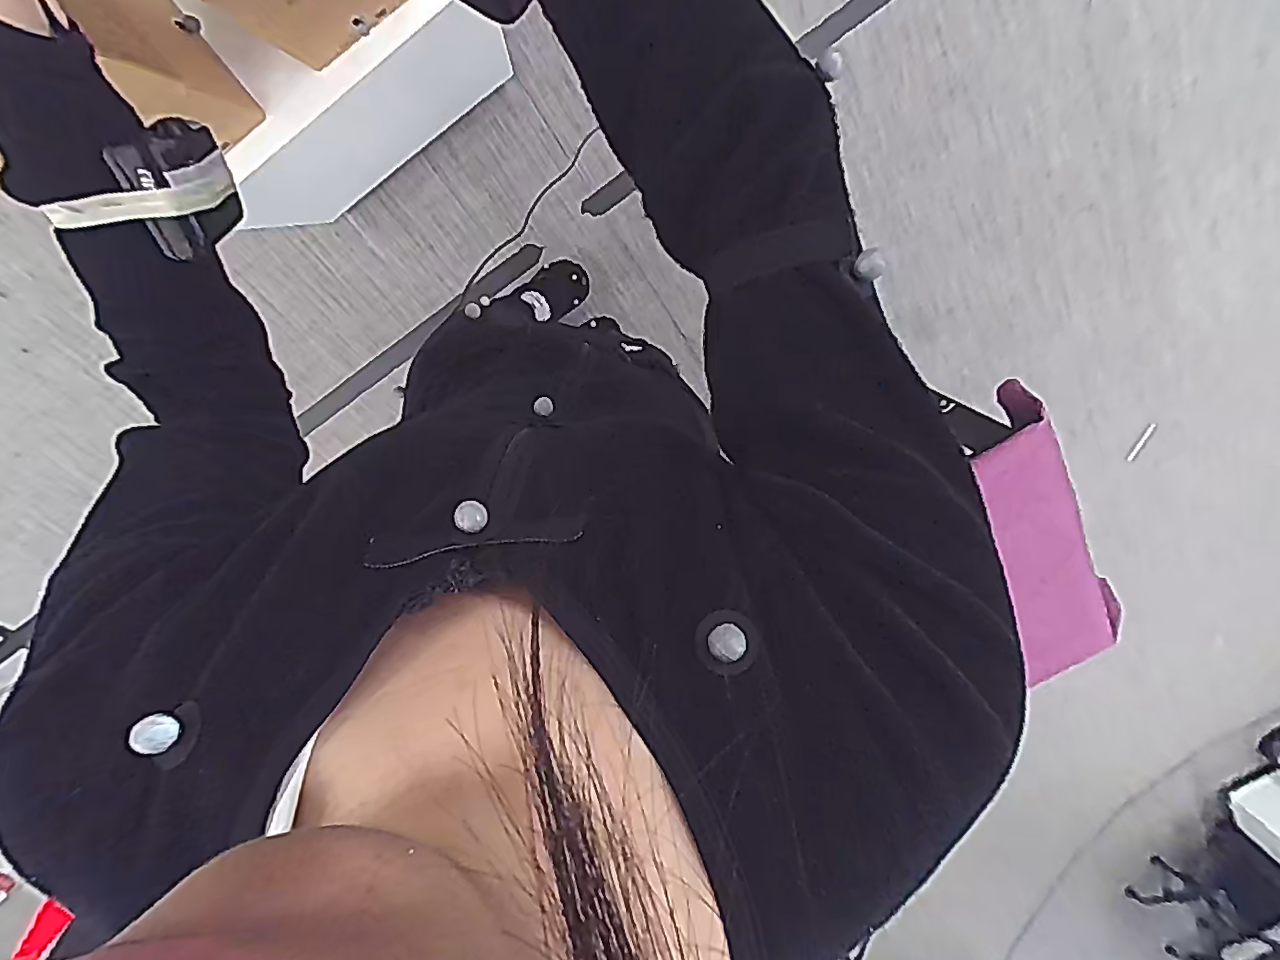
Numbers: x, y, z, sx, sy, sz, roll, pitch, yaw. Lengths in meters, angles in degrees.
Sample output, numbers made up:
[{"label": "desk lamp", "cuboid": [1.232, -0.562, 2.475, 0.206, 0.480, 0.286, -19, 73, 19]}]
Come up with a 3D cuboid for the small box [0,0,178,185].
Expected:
[{"label": "small box", "cuboid": [-0.523, -0.350, 0.410, 0.168, 0.176, 0.179, -34, 116, 8]}]

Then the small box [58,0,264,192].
[{"label": "small box", "cuboid": [-0.548, -0.422, 0.553, 0.168, 0.176, 0.179, -33, 116, 8]}]

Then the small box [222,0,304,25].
[{"label": "small box", "cuboid": [-0.313, -0.479, 0.378, 0.168, 0.176, 0.179, -31, 118, 8]}]
